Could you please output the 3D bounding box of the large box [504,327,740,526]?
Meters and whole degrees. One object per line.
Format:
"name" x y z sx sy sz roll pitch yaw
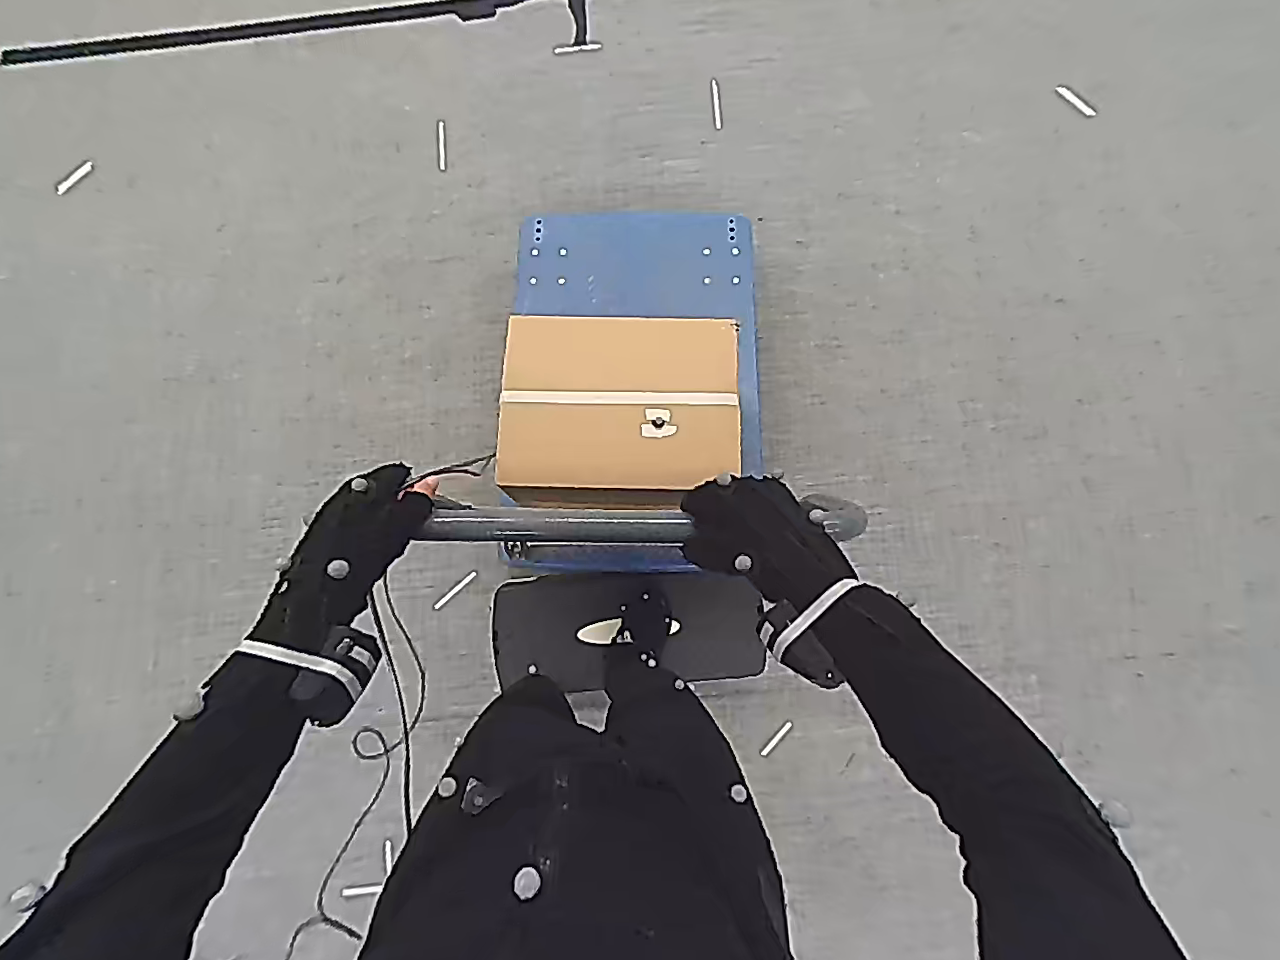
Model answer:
"large box" -0.031 -0.087 1.083 0.408 0.320 0.320 2 75 0
